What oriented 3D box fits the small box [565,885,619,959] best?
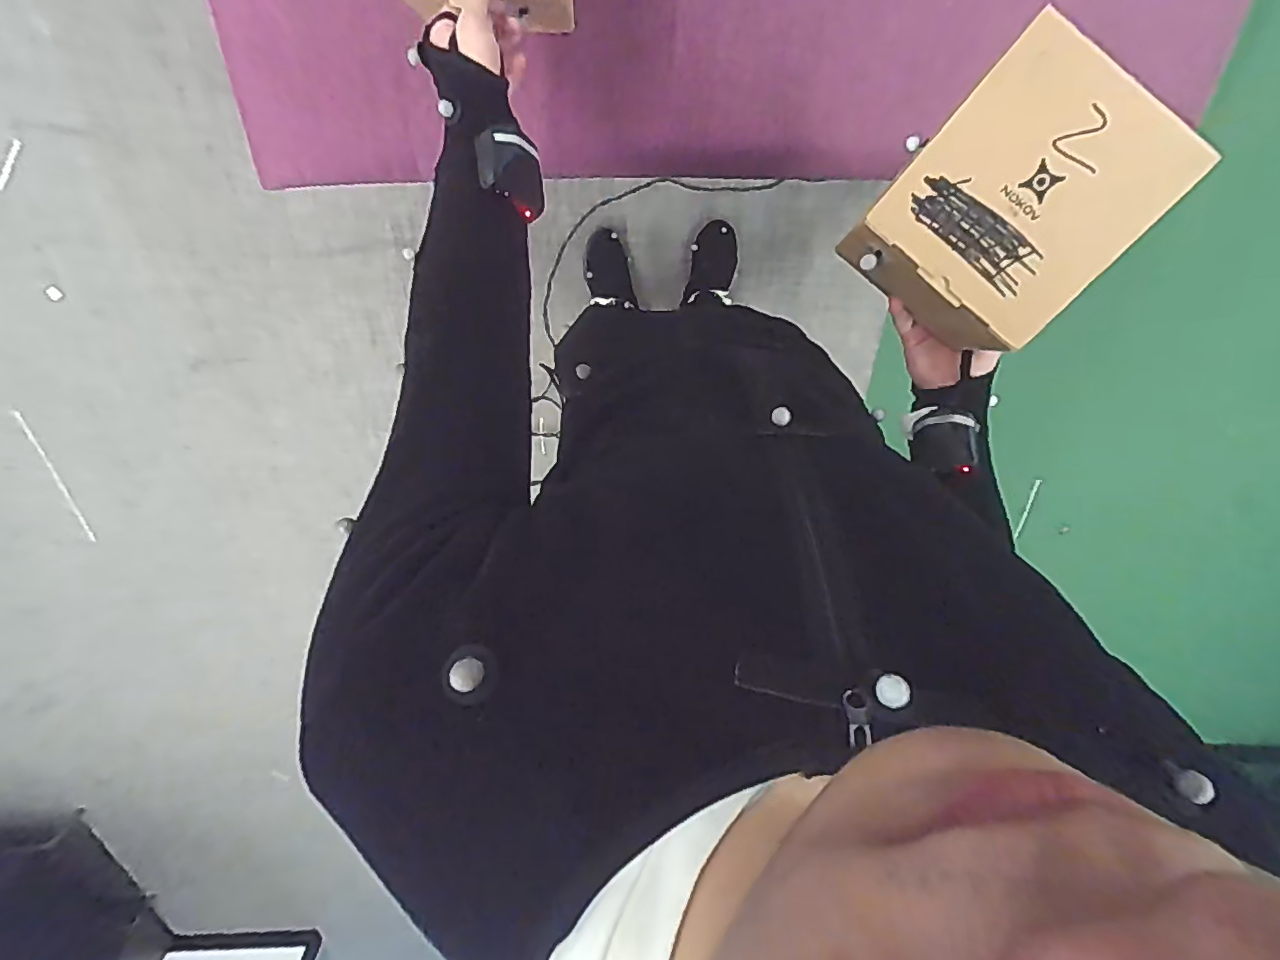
[{"bbox_3d":[-0.155,1.468,1.768,0.168,0.176,0.179,2,116,-3],"label":"small box"}]

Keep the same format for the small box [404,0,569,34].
[{"bbox_3d":[-0.157,-0.559,0.520,0.168,0.176,0.179,1,117,-3],"label":"small box"}]

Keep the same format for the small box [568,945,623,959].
[{"bbox_3d":[-0.145,1.546,1.624,0.168,0.176,0.179,10,115,-7],"label":"small box"}]
